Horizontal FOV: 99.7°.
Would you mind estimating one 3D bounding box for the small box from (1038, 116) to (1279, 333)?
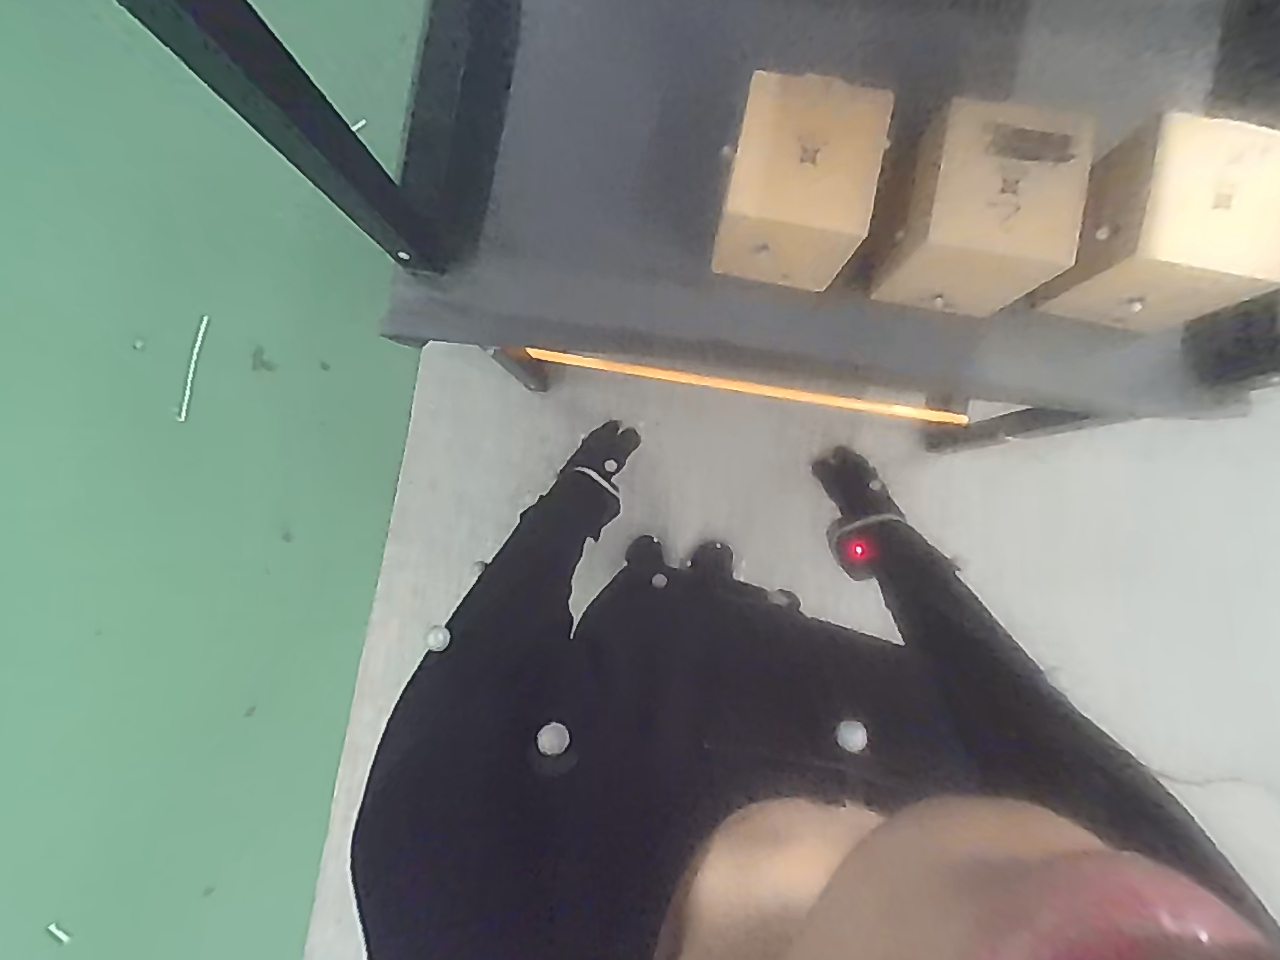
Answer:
[{"bbox_3d":[0.646,-0.303,0.678,0.168,0.176,0.179,13,86,3],"label":"small box"}]

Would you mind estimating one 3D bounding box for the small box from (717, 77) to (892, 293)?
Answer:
[{"bbox_3d":[0.198,-0.367,0.704,0.168,0.176,0.179,12,87,3],"label":"small box"}]
